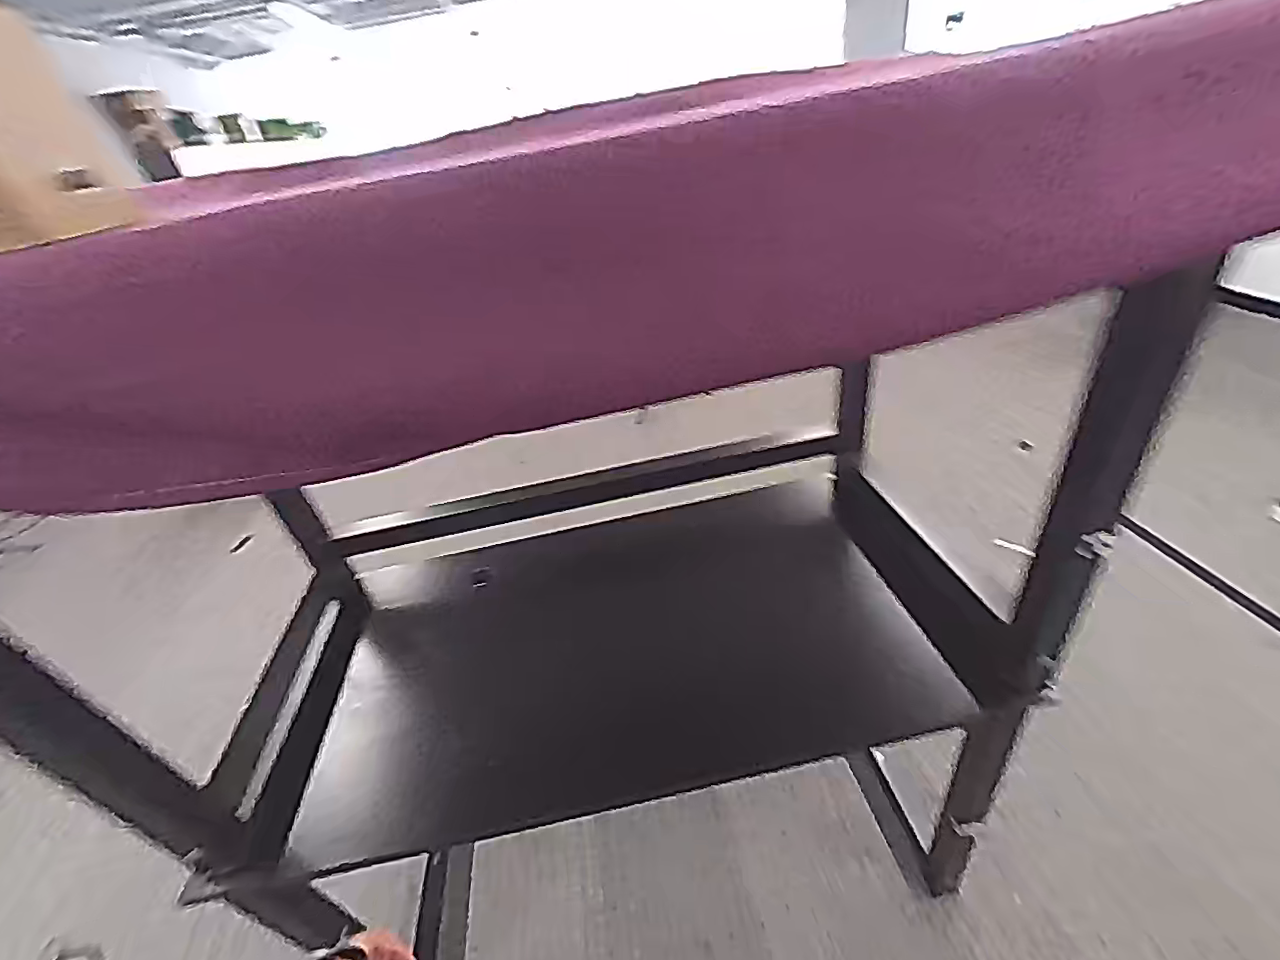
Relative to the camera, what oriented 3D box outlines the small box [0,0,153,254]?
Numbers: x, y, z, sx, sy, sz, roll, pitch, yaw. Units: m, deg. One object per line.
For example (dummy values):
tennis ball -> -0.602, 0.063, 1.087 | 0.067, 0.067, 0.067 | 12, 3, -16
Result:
small box -> -0.546, -0.273, 0.424 | 0.168, 0.176, 0.179 | -17, 34, -9
